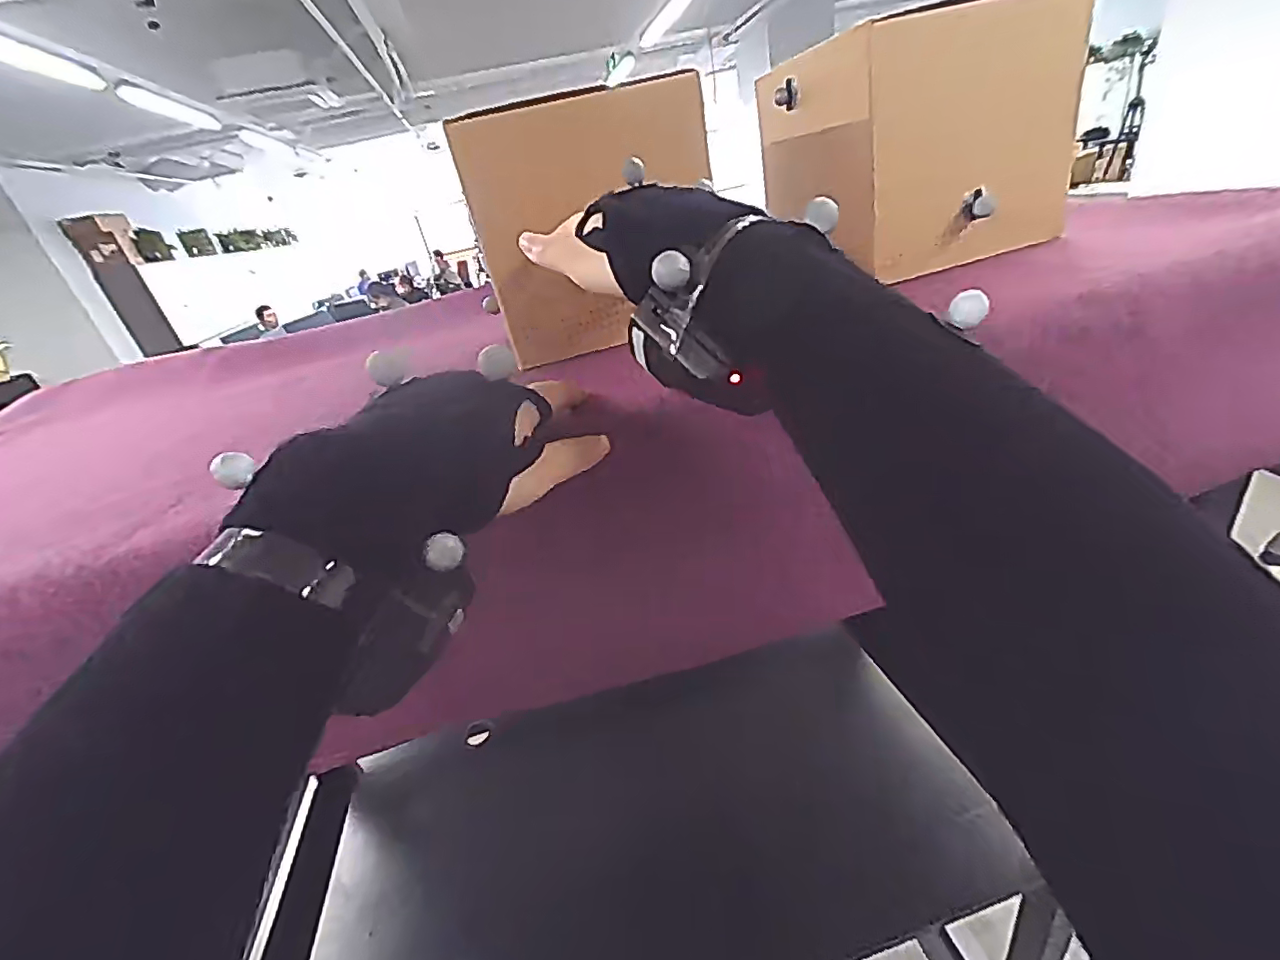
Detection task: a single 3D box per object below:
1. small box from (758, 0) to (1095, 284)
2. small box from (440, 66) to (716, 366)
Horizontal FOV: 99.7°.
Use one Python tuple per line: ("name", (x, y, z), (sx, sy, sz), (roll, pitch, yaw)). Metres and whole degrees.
("small box", (0.217, -0.275, 0.451), (0.179, 0.176, 0.168), (-17, 27, -8))
("small box", (-0.044, -0.211, 0.454), (0.179, 0.176, 0.168), (-17, 27, -6))
